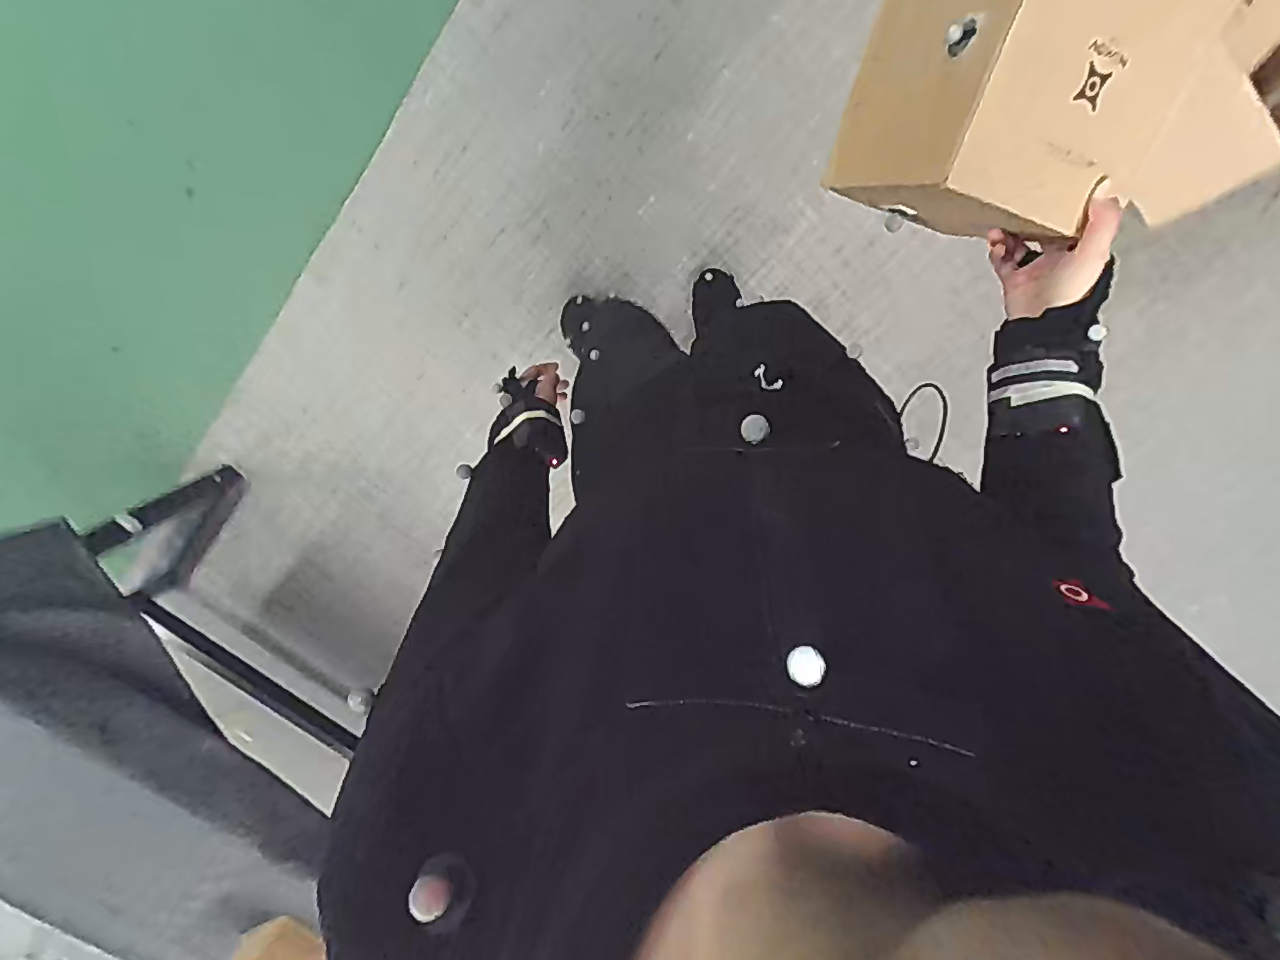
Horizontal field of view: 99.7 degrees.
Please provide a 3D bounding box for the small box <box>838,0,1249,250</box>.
[{"bbox_3d":[0.292,-0.303,0.432,0.168,0.176,0.179,8,115,-19],"label":"small box"}]

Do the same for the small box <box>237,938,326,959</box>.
[{"bbox_3d":[-0.707,1.009,1.018,0.168,0.176,0.179,-38,105,18],"label":"small box"}]
